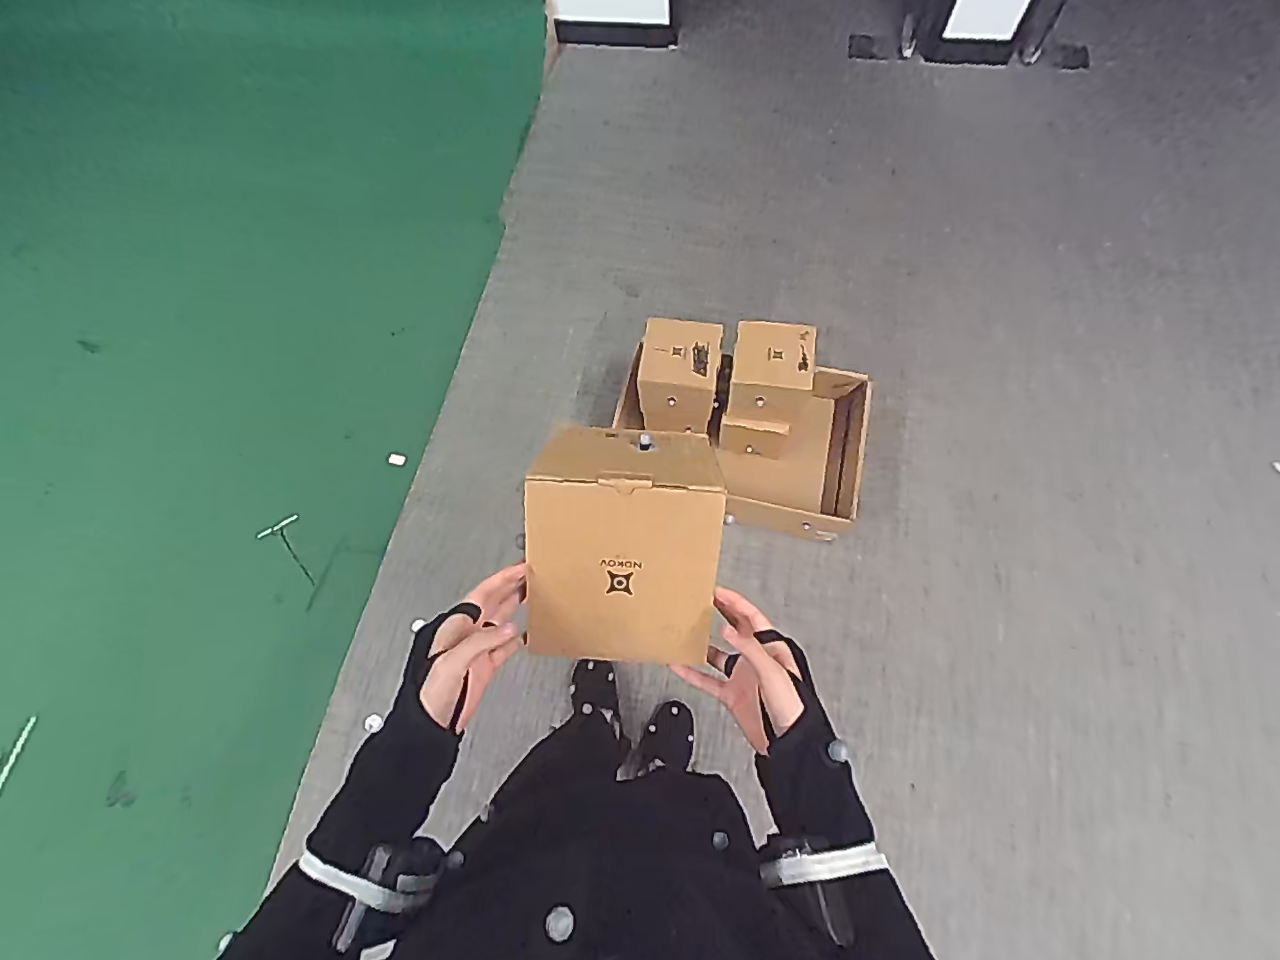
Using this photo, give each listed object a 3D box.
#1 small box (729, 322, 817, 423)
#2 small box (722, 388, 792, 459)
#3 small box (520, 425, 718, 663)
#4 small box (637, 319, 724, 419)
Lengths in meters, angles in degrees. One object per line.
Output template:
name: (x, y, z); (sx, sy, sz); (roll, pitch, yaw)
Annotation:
small box: (0.304, -0.245, 1.257); (0.179, 0.176, 0.168); (7, 71, 10)
small box: (0.309, -0.176, 1.407); (0.168, 0.176, 0.179); (11, 73, 11)
small box: (-0.017, 0.053, 0.542); (0.168, 0.176, 0.179); (4, 109, 2)
small box: (0.099, -0.256, 1.280); (0.179, 0.176, 0.168); (8, 72, 8)
